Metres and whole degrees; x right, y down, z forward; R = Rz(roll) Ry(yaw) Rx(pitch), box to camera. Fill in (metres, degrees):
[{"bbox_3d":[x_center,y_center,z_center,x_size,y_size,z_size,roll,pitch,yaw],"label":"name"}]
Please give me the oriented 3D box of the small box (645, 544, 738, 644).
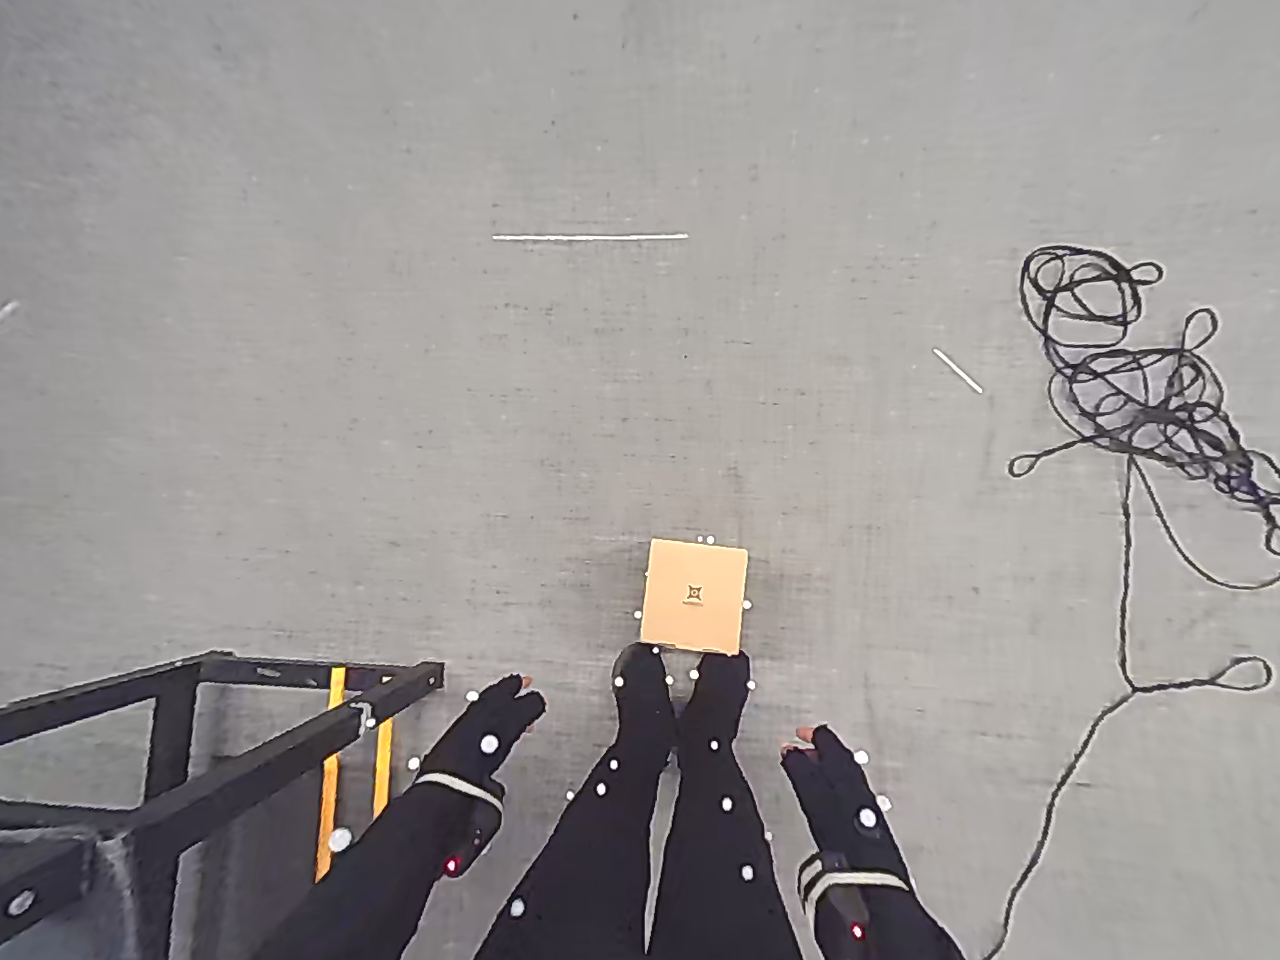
[{"bbox_3d":[0.108,0.232,1.145,0.168,0.176,0.179,7,85,6],"label":"small box"}]
